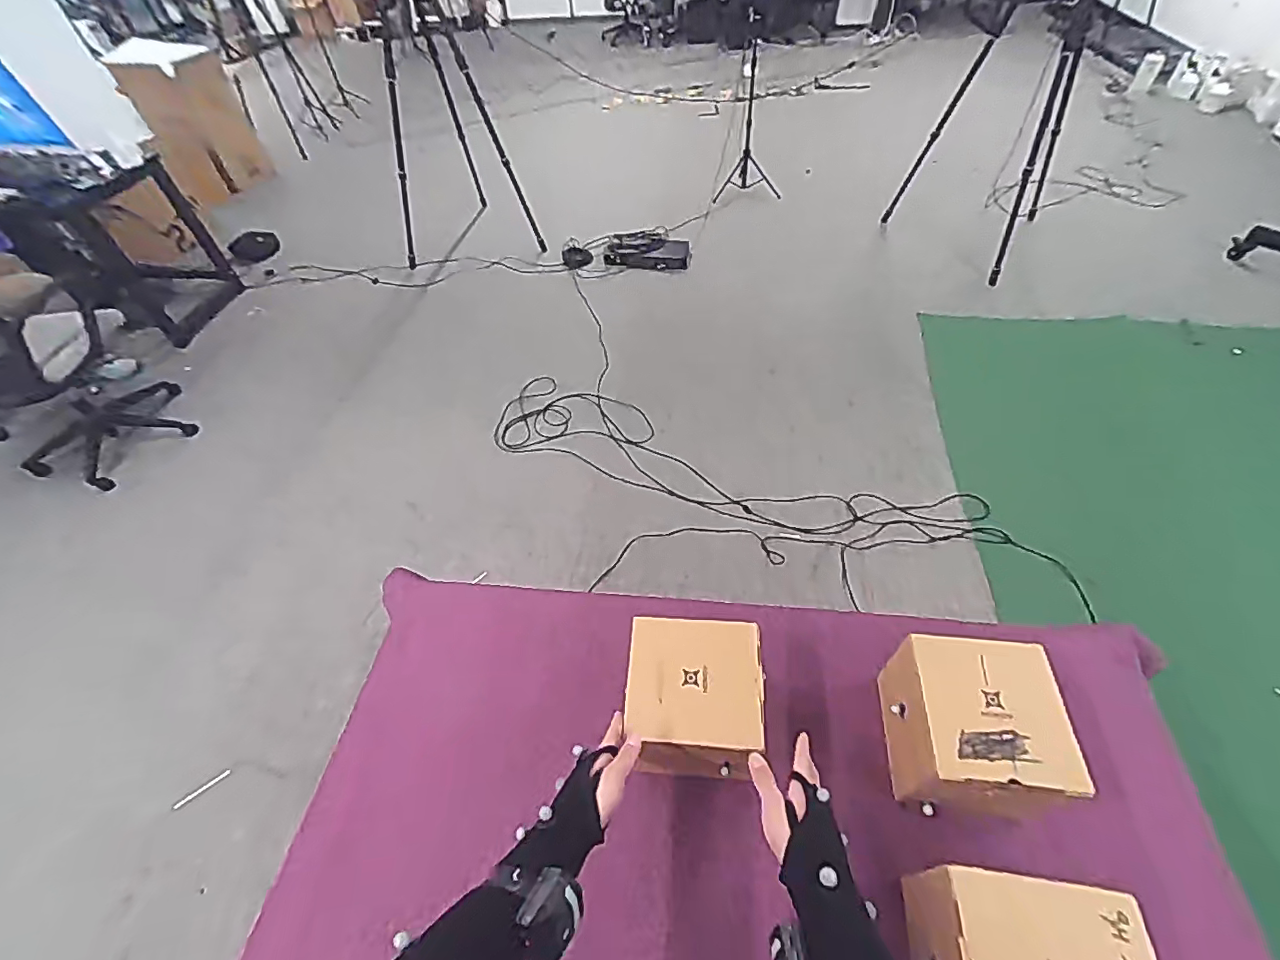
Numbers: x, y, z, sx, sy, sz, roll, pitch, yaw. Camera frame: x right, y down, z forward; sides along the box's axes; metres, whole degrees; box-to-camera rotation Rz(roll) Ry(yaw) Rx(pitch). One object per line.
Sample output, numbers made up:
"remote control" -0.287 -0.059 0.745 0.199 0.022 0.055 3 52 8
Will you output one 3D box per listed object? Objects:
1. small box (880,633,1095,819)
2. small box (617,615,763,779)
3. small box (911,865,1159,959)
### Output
"small box" 0.427 0.323 0.704 0.168 0.176 0.179 3 50 8
"small box" 0.072 0.305 0.753 0.179 0.176 0.168 1 50 7
"small box" 0.391 0.513 0.545 0.179 0.176 0.168 4 50 10
